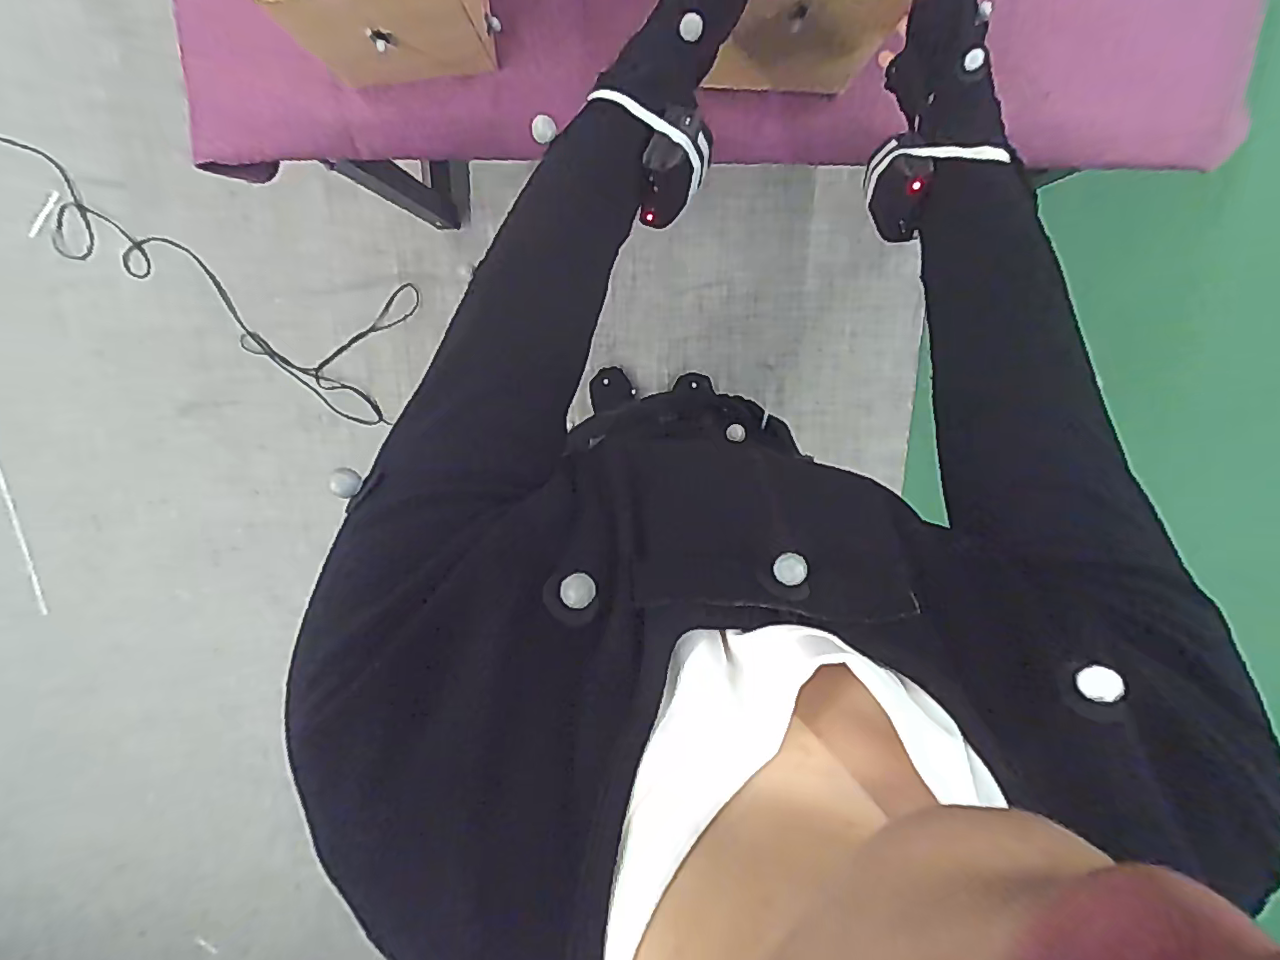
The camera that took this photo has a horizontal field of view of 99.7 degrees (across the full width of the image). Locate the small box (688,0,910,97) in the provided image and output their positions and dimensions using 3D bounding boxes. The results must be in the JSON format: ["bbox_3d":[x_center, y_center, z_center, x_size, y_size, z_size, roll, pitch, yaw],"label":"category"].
[{"bbox_3d":[0.149,-0.510,0.530,0.179,0.176,0.168,2,99,-3],"label":"small box"}]

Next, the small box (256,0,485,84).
[{"bbox_3d":[-0.262,-0.526,0.530,0.179,0.176,0.168,-5,103,1],"label":"small box"}]
